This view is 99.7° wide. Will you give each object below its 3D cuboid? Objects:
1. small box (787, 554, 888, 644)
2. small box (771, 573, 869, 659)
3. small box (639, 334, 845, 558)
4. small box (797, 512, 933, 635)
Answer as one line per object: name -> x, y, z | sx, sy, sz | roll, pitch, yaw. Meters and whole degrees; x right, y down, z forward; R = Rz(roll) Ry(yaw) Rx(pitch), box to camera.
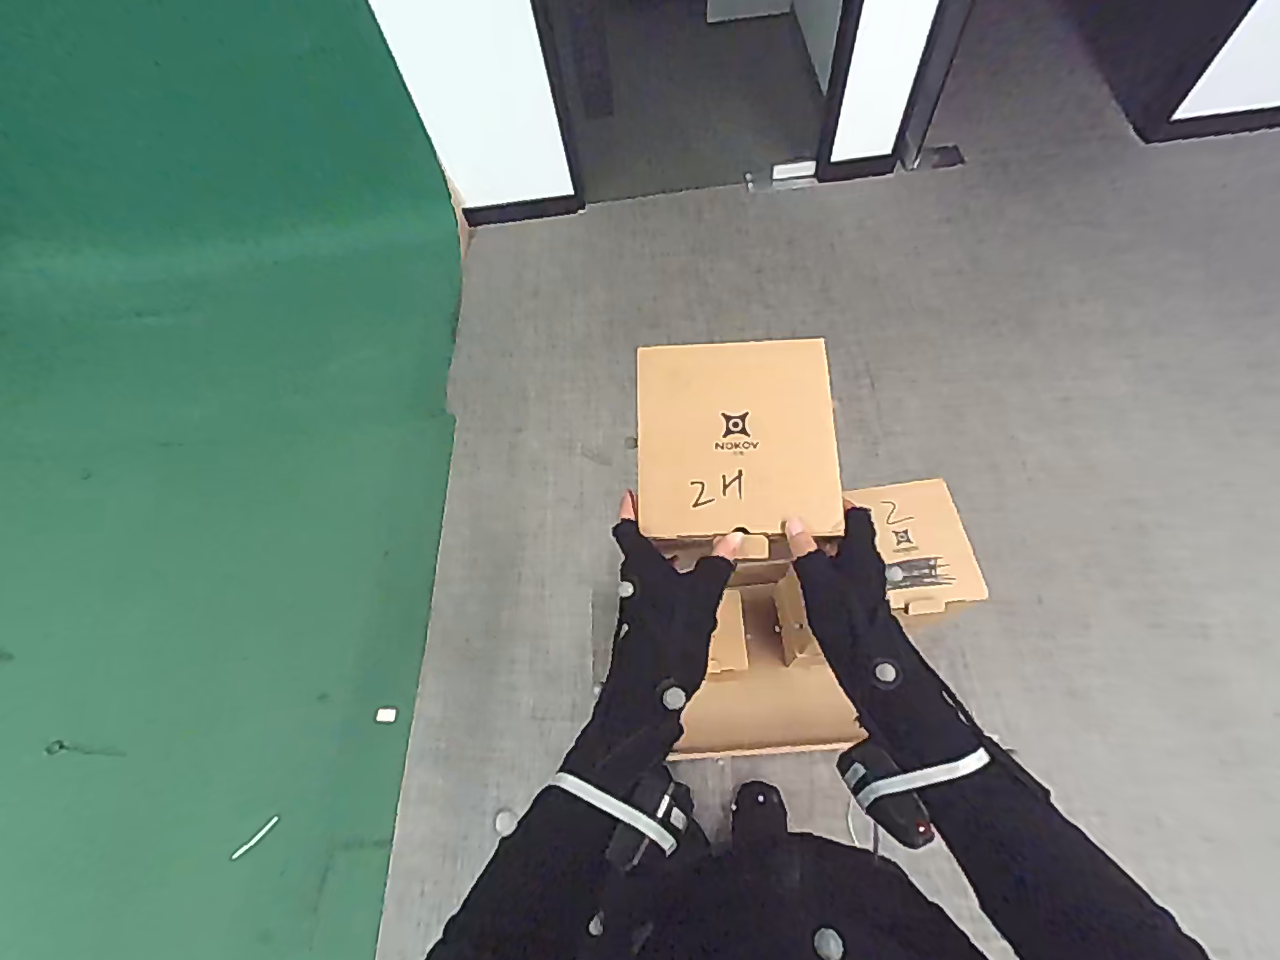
small box -> 0.400, 0.230, 1.086 | 0.168, 0.176, 0.179 | -6, 64, 5
small box -> 0.407, 0.311, 1.248 | 0.168, 0.176, 0.179 | -10, 63, 4
small box -> 0.087, -0.022, 0.528 | 0.168, 0.176, 0.179 | -2, 75, 5
small box -> 0.382, 0.172, 0.951 | 0.168, 0.176, 0.179 | -5, 64, 4
